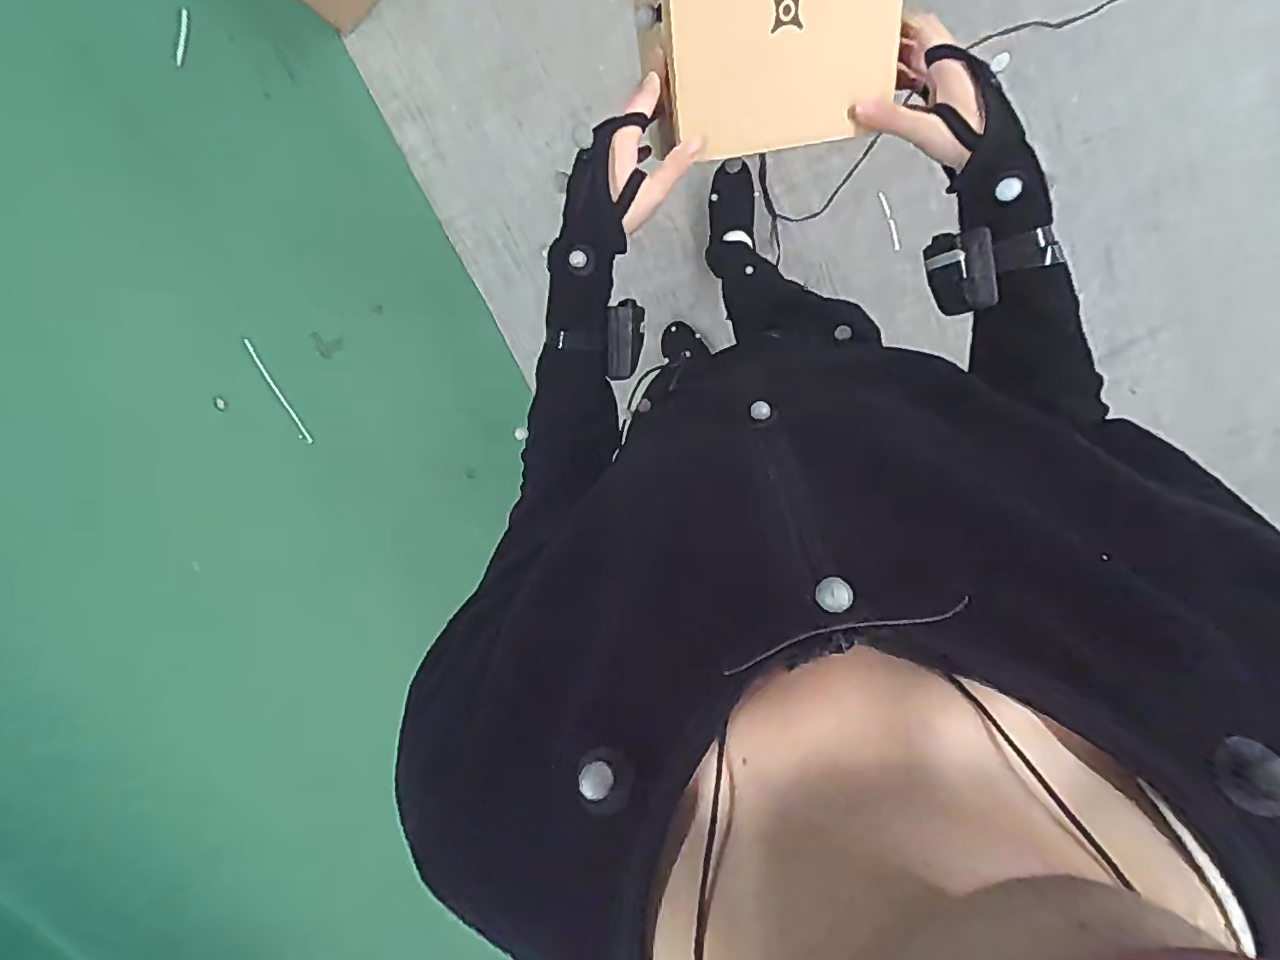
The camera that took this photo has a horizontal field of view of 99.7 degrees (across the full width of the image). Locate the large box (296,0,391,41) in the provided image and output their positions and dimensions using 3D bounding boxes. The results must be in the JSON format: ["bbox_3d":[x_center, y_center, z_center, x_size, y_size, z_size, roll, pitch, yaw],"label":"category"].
[{"bbox_3d":[-0.606,-1.177,1.017,0.408,0.320,0.320,-37,102,15],"label":"large box"}]

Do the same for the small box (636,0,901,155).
[{"bbox_3d":[0.089,-0.371,0.430,0.168,0.176,0.179,-10,120,-1],"label":"small box"}]
